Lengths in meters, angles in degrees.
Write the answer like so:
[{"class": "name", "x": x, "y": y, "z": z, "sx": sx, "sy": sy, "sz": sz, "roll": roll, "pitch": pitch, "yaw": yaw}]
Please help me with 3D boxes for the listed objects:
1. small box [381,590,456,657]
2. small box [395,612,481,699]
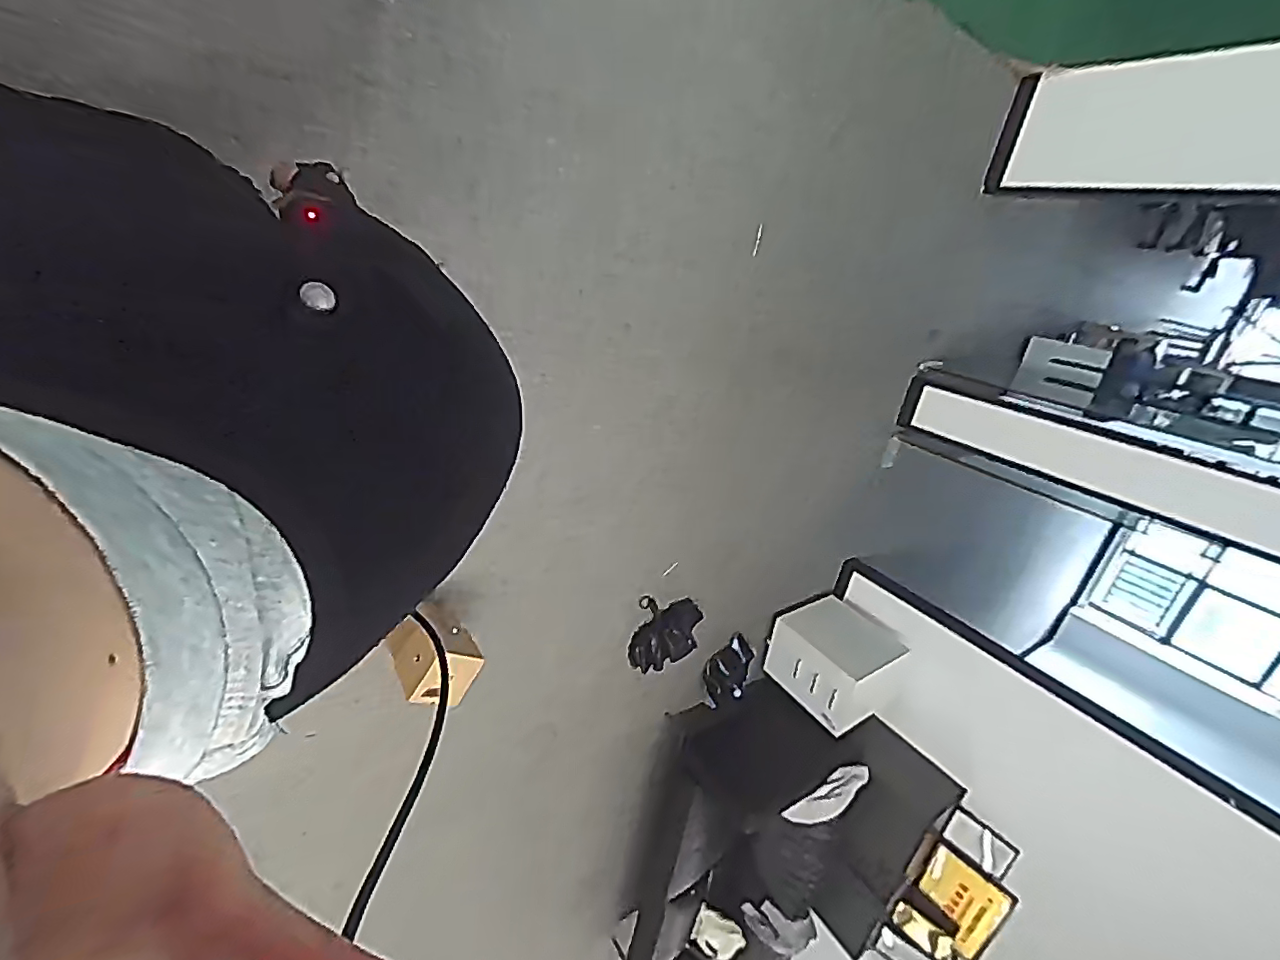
[{"class": "small box", "x": -0.720, "y": 0.494, "z": 1.787, "sx": 0.168, "sy": 0.176, "sz": 0.179, "roll": -48, "pitch": 133, "yaw": -7}, {"class": "small box", "x": -0.626, "y": 0.537, "z": 1.656, "sx": 0.168, "sy": 0.176, "sz": 0.179, "roll": 32, "pitch": 91, "yaw": -45}]
